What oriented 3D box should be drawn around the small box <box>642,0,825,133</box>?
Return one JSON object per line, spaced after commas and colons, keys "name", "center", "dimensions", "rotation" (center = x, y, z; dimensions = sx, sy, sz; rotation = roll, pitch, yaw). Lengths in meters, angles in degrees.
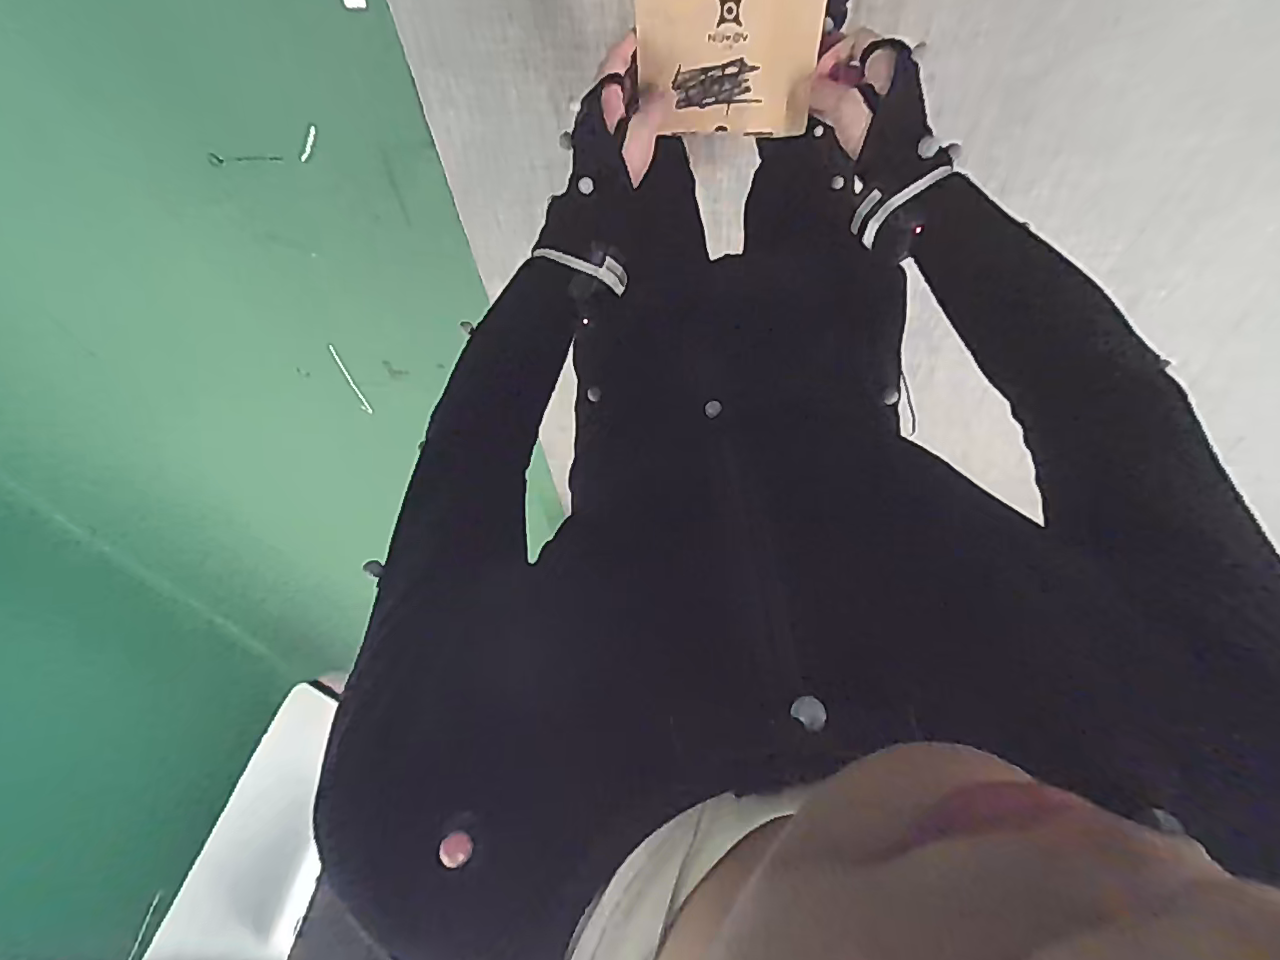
{"name": "small box", "center": [0.095, -0.476, 0.543], "dimensions": [0.168, 0.176, 0.179], "rotation": [4, 140, 7]}
